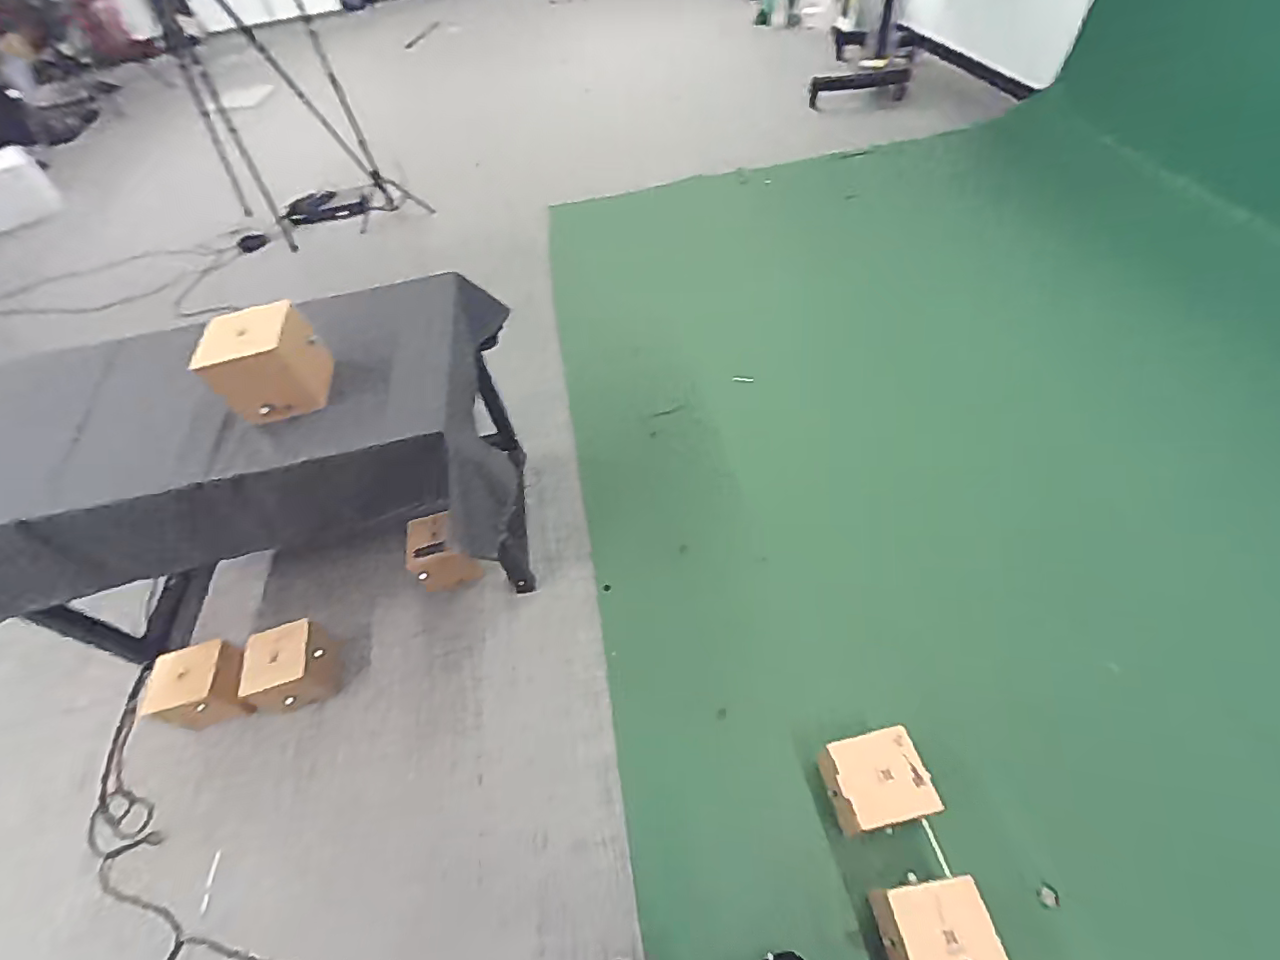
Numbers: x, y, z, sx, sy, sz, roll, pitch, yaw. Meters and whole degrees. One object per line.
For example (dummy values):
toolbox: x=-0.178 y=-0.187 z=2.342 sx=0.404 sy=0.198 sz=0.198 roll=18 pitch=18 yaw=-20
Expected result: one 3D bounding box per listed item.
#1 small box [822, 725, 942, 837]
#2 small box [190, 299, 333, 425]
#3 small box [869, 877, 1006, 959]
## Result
small box: x=0.511 y=0.658 z=1.176 sx=0.179 sy=0.176 sz=0.168 roll=-14 pitch=52 yaw=-1
small box: x=-0.773 y=-0.245 z=1.130 sx=0.168 sy=0.176 sz=0.179 roll=-15 pitch=52 yaw=-2
small box: x=0.555 y=0.863 z=1.012 sx=0.168 sy=0.176 sz=0.179 roll=-10 pitch=52 yaw=0
